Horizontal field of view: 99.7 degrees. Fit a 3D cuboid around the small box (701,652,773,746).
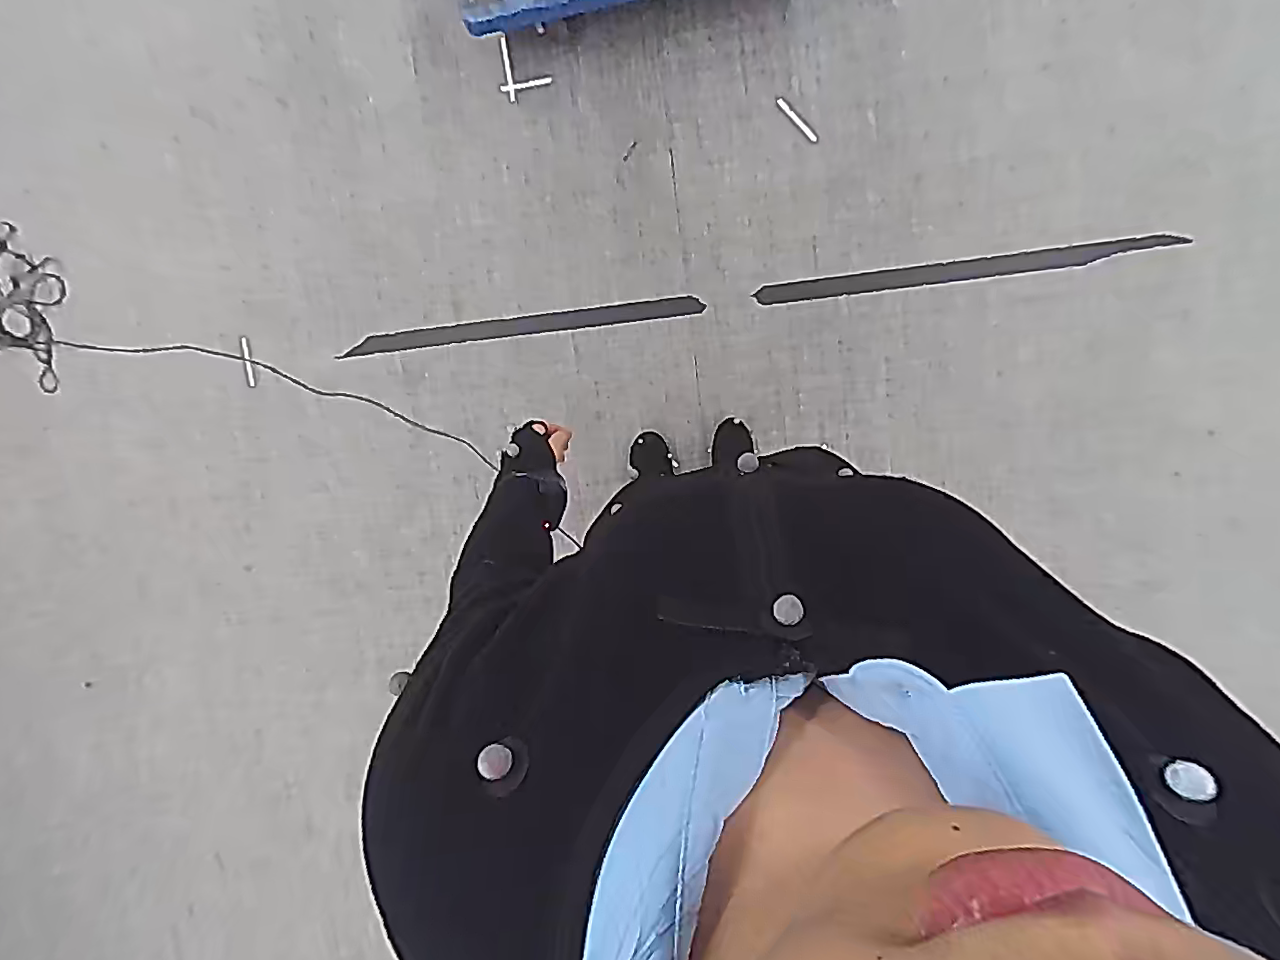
[{"bbox_3d":[0.260,0.591,1.474,0.168,0.176,0.179,-8,96,5],"label":"small box"}]
